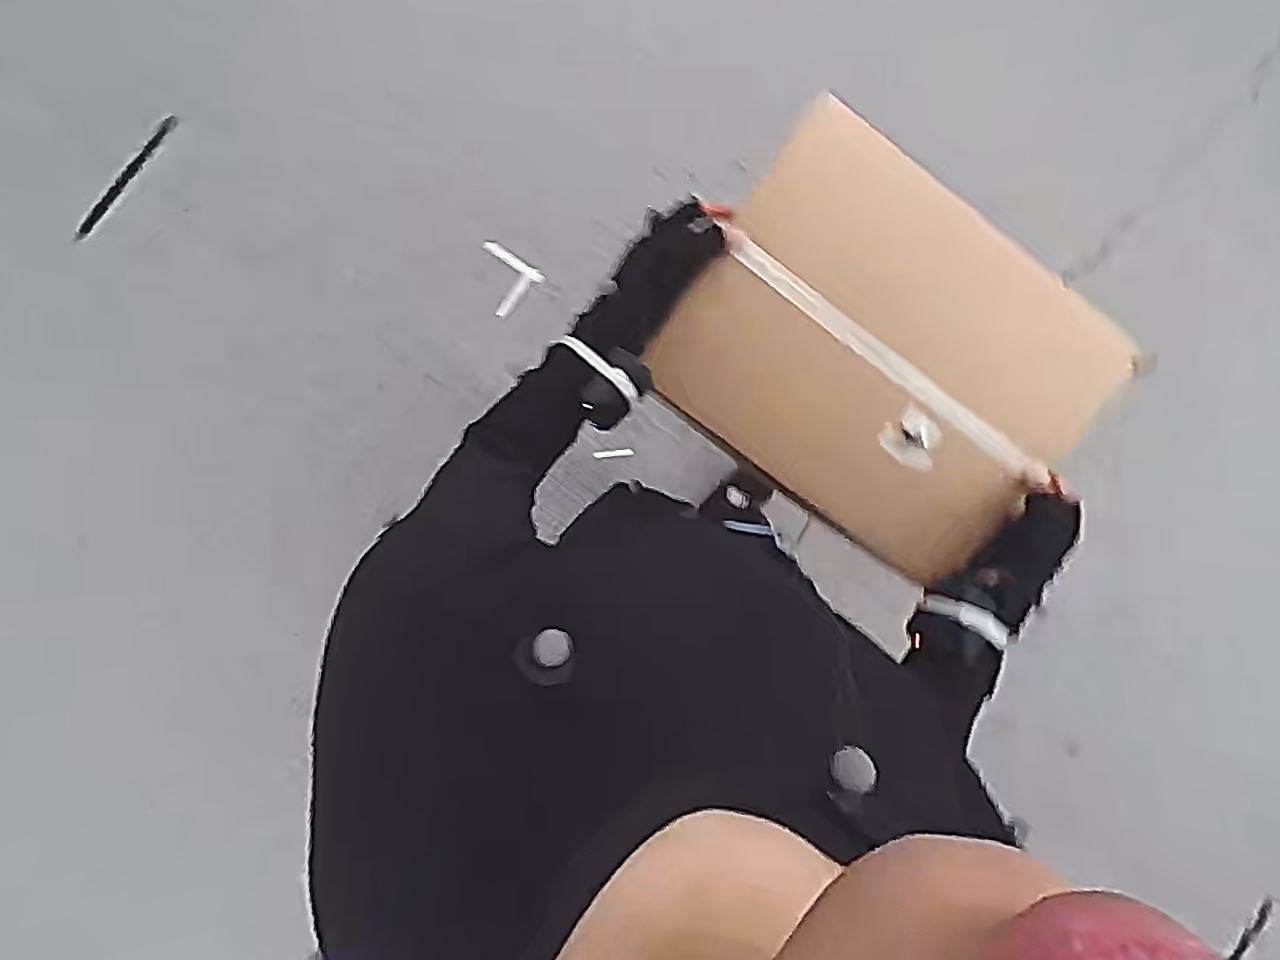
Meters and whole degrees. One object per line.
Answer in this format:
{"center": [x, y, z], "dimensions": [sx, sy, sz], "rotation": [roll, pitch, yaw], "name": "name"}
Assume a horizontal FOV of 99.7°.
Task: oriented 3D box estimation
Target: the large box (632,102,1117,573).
{"center": [0.235, -0.152, 0.694], "dimensions": [0.408, 0.320, 0.320], "rotation": [36, 98, -5], "name": "large box"}
